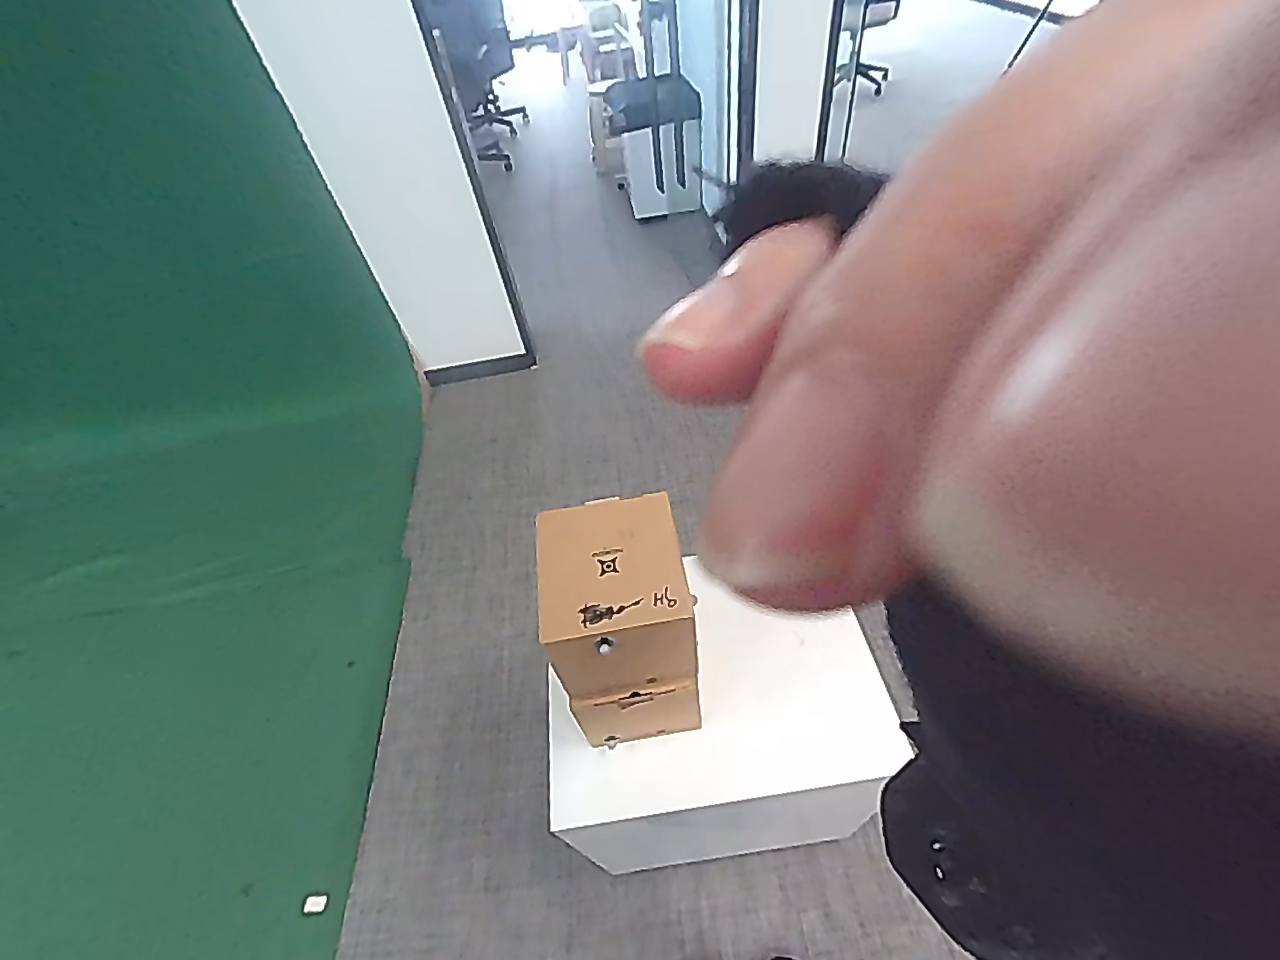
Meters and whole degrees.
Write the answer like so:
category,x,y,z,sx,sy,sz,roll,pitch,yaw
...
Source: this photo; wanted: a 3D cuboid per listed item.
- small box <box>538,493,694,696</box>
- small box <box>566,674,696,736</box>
category,x,y,z,sx,sy,sz,roll,pitch,yaw
small box,-0.029,0.145,0.680,0.168,0.176,0.179,-10,48,0
small box,-0.013,0.260,0.795,0.168,0.176,0.179,-10,48,-1
